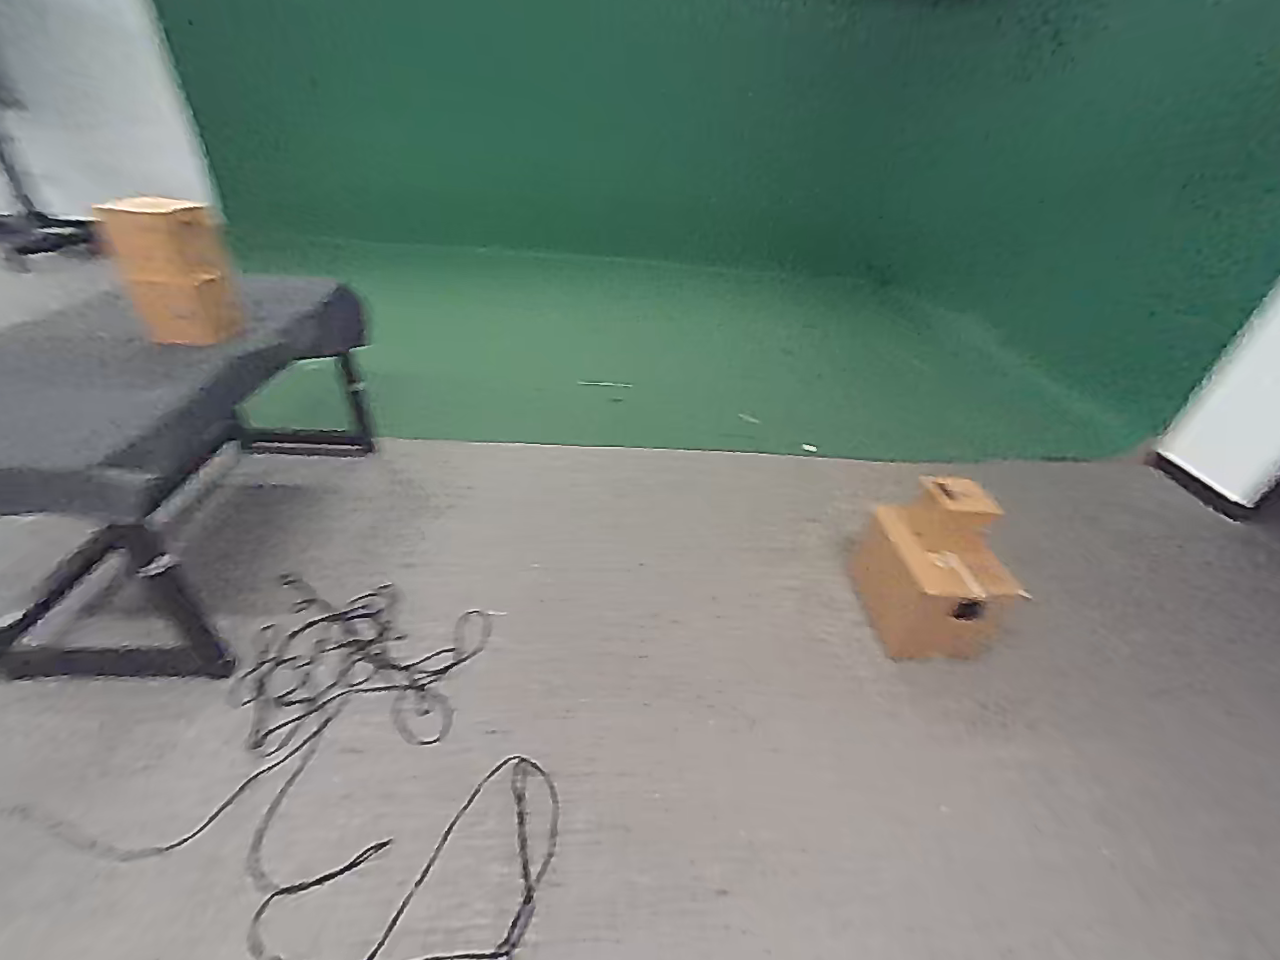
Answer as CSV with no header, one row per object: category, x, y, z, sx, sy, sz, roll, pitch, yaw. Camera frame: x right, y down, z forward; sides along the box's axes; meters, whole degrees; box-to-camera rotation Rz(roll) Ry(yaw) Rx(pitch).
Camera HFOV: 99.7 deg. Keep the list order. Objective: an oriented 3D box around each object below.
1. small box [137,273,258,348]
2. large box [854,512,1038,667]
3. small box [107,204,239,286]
small box,-1.221,-0.477,1.509,0.179,0.176,0.168,3,35,0
large box,0.958,0.350,1.766,0.320,0.320,0.408,1,37,-4
small box,-1.223,-0.622,1.432,0.179,0.176,0.168,7,35,3
